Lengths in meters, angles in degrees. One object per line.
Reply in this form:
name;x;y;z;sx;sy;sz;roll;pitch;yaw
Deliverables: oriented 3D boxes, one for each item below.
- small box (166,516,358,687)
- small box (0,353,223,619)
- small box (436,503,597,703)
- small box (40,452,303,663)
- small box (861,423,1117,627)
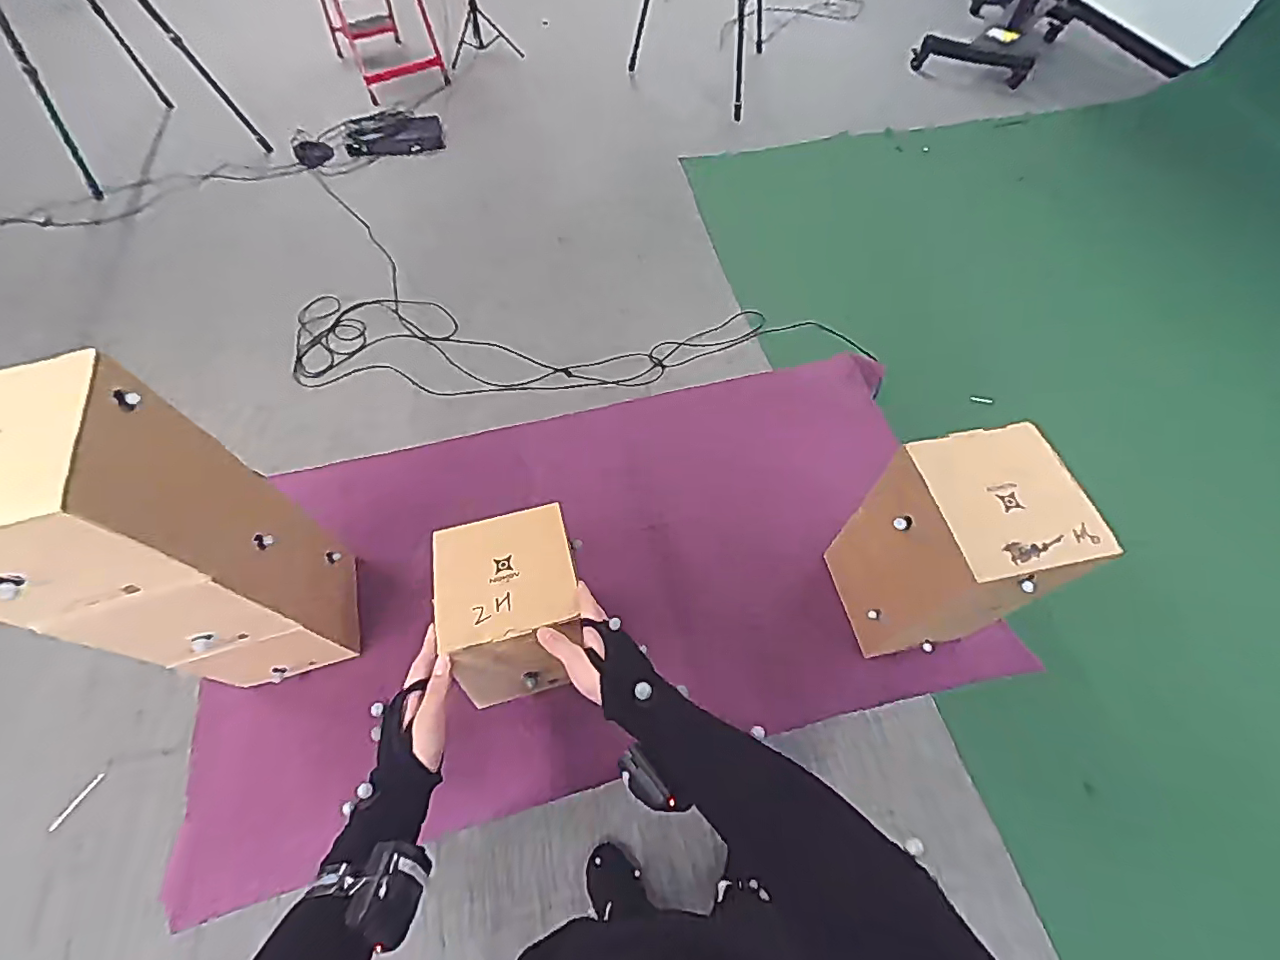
small box;-0.533;0.181;0.790;0.168;0.176;0.179;-15;62;-8
small box;-0.536;0.017;0.509;0.168;0.176;0.179;-16;61;-8
small box;-0.158;0.161;0.707;0.168;0.176;0.179;-13;50;-8
small box;-0.534;0.098;0.649;0.168;0.176;0.179;-16;62;-8
small box;0.398;0.059;0.661;0.168;0.176;0.179;-11;59;-4
